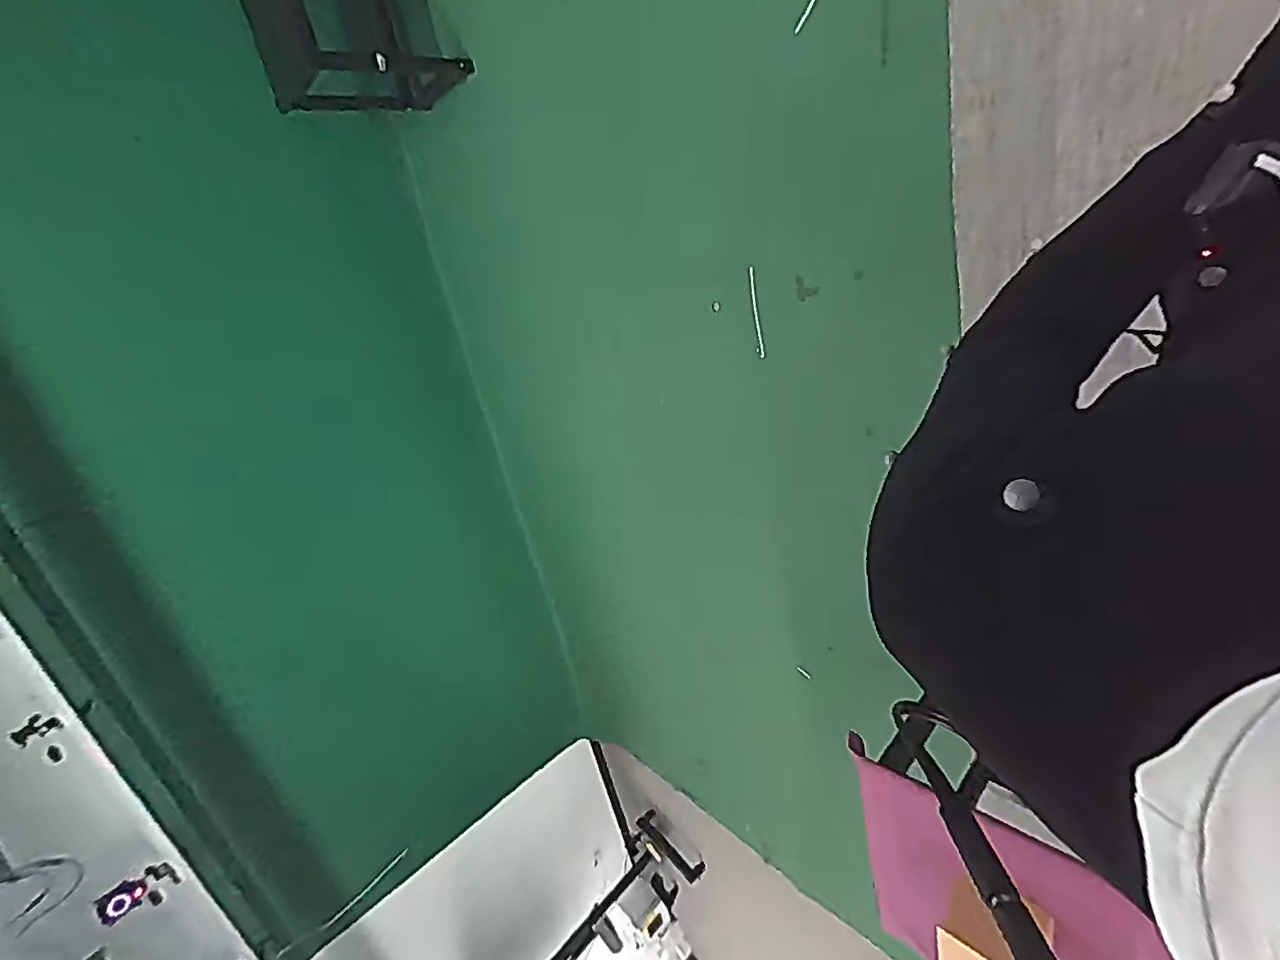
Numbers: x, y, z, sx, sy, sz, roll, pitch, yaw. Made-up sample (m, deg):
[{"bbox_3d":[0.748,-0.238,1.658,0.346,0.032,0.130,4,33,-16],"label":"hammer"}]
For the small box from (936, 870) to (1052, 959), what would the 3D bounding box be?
[{"bbox_3d":[0.741,0.982,1.131,0.168,0.176,0.179,10,121,47],"label":"small box"}]
